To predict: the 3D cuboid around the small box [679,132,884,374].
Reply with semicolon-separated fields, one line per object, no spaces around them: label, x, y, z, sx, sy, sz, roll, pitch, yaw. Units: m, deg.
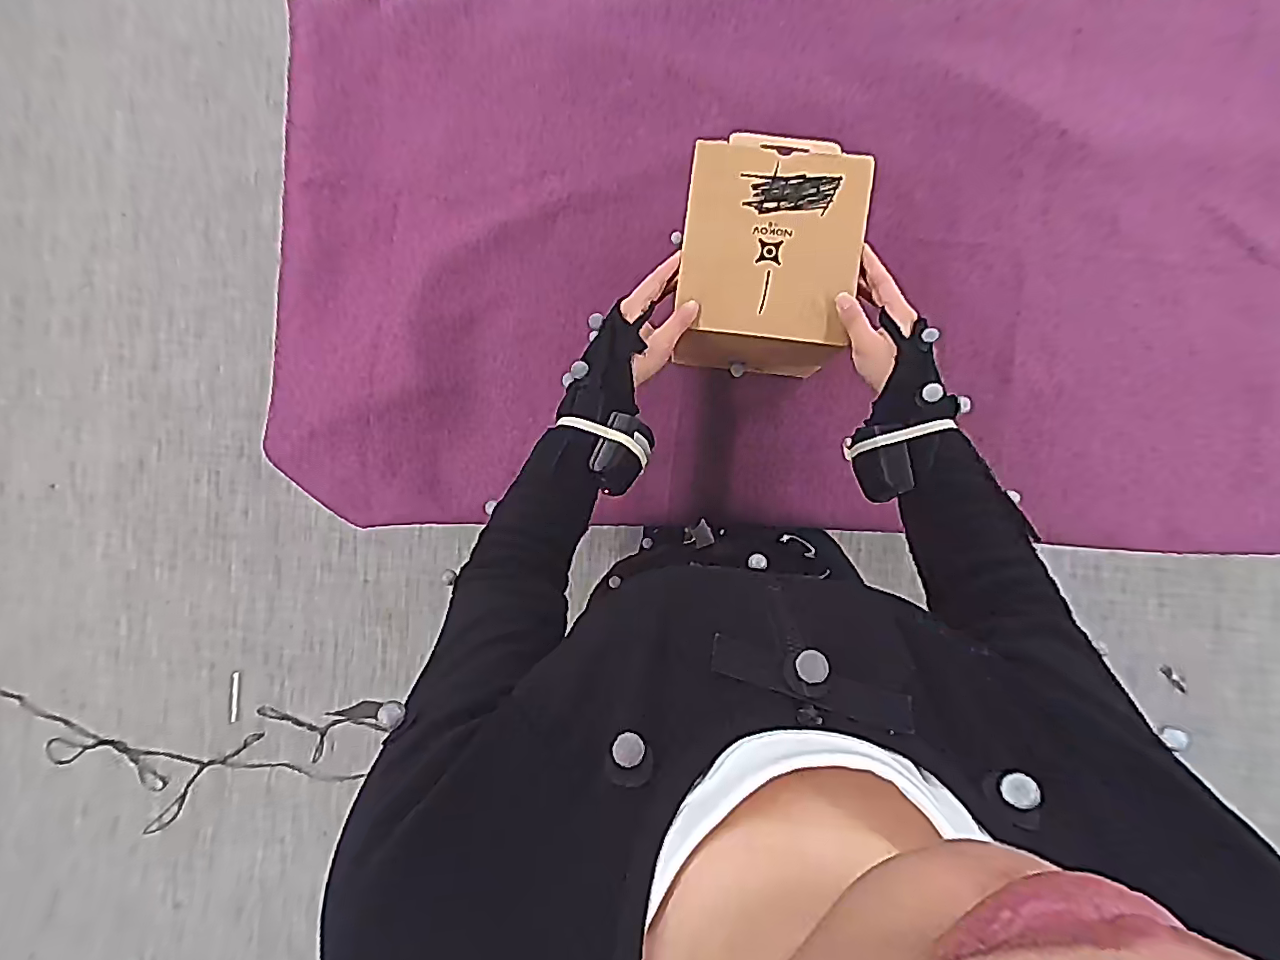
small box;0.132;-0.221;0.568;0.168;0.176;0.179;8;92;4
